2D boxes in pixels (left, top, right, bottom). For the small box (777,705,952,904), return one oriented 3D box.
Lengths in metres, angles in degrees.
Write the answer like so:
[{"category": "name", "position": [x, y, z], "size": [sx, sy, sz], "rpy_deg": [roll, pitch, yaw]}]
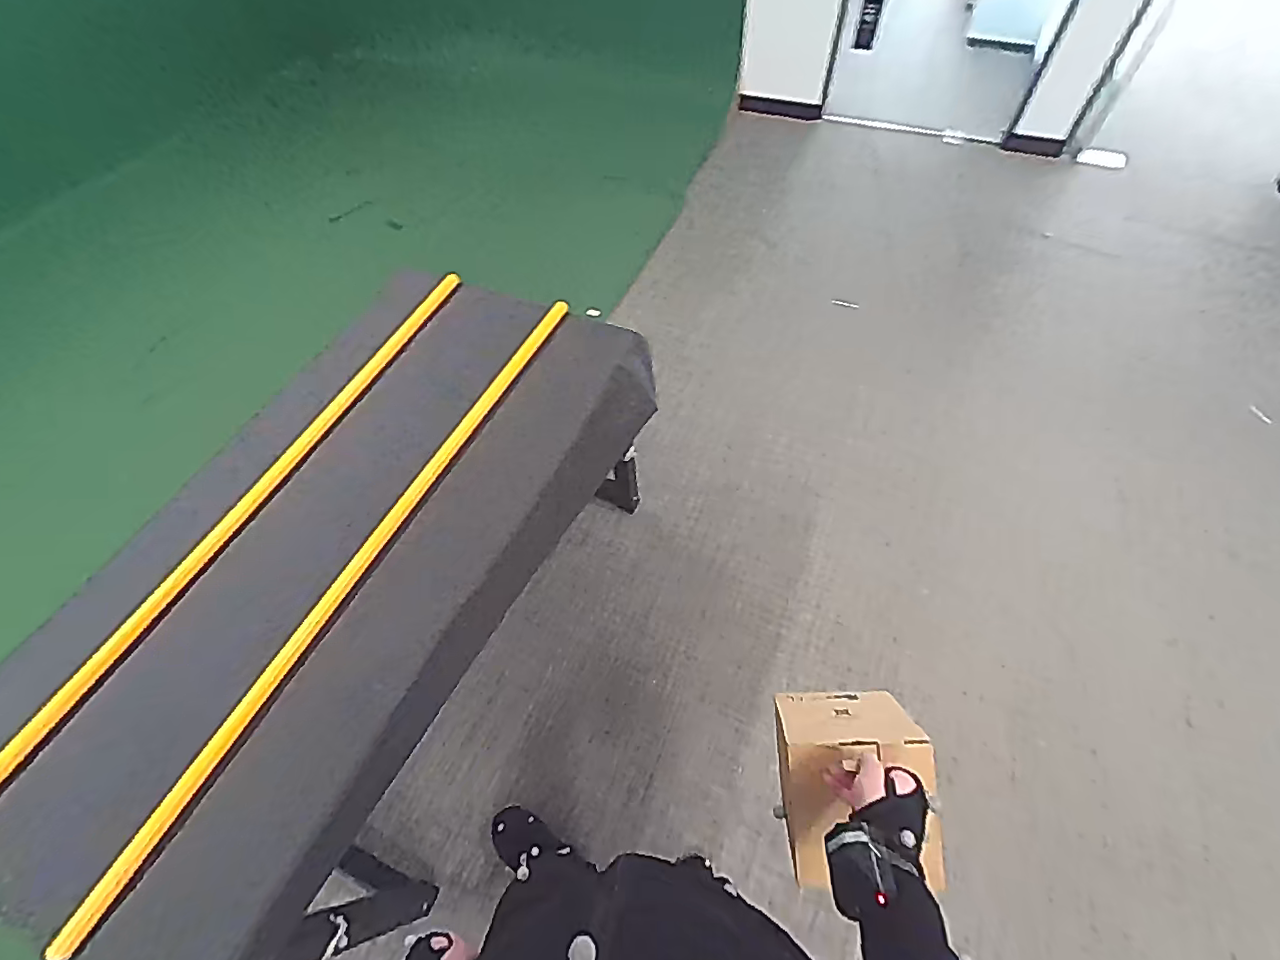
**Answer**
[{"category": "small box", "position": [0.281, 0.413, 0.706], "size": [0.168, 0.179, 0.176], "rpy_deg": [-5, 85, 6]}]
